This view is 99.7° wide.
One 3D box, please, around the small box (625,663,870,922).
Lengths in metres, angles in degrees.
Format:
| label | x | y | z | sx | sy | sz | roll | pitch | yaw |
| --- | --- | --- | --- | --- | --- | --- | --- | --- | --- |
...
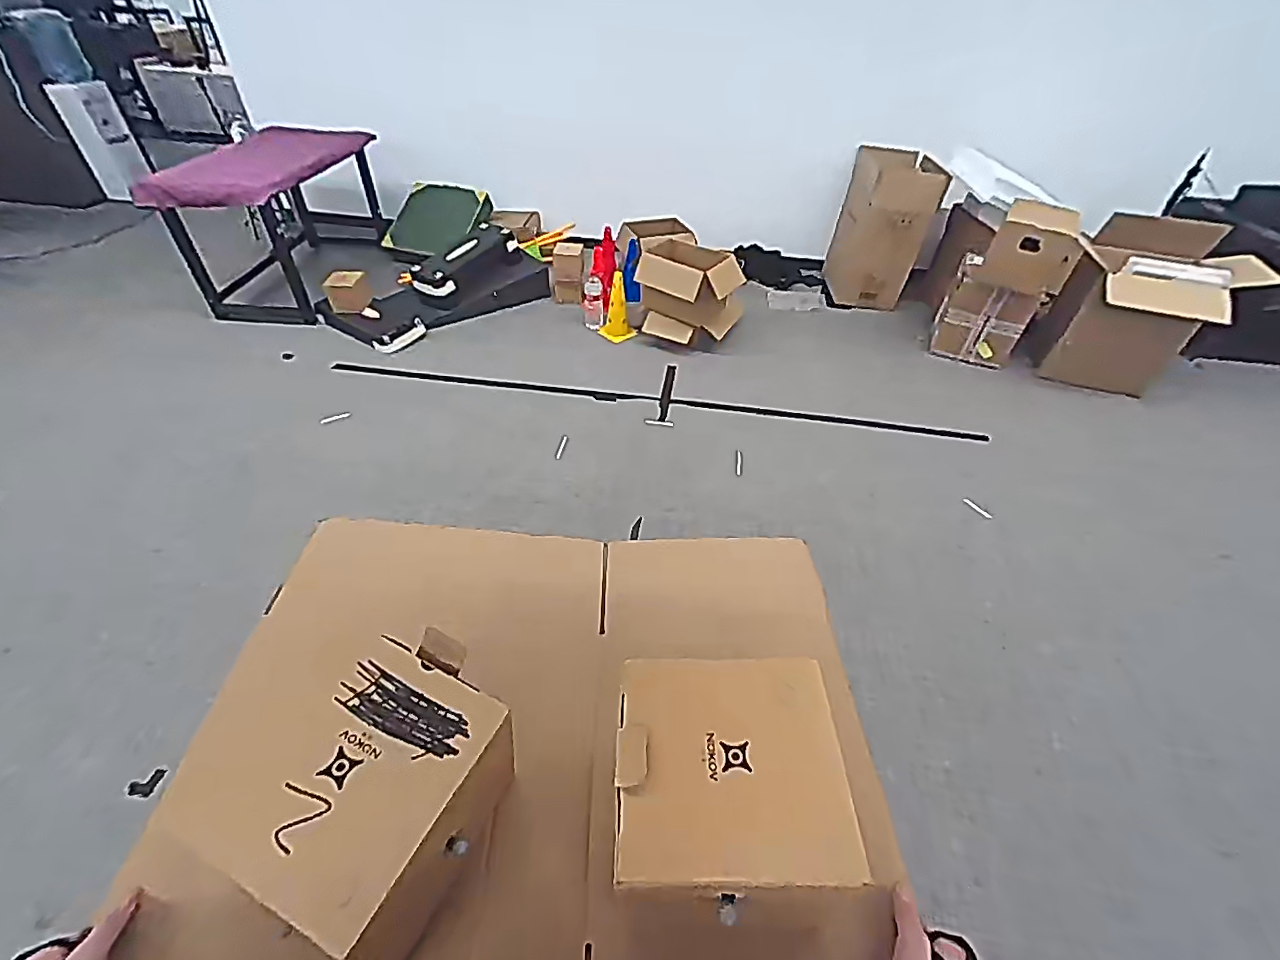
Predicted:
| label | x | y | z | sx | sy | sz | roll | pitch | yaw |
| --- | --- | --- | --- | --- | --- | --- | --- | --- | --- |
| small box | 0.079 | 0.284 | 0.492 | 0.179 | 0.176 | 0.168 | -2 | 43 | 2 |
